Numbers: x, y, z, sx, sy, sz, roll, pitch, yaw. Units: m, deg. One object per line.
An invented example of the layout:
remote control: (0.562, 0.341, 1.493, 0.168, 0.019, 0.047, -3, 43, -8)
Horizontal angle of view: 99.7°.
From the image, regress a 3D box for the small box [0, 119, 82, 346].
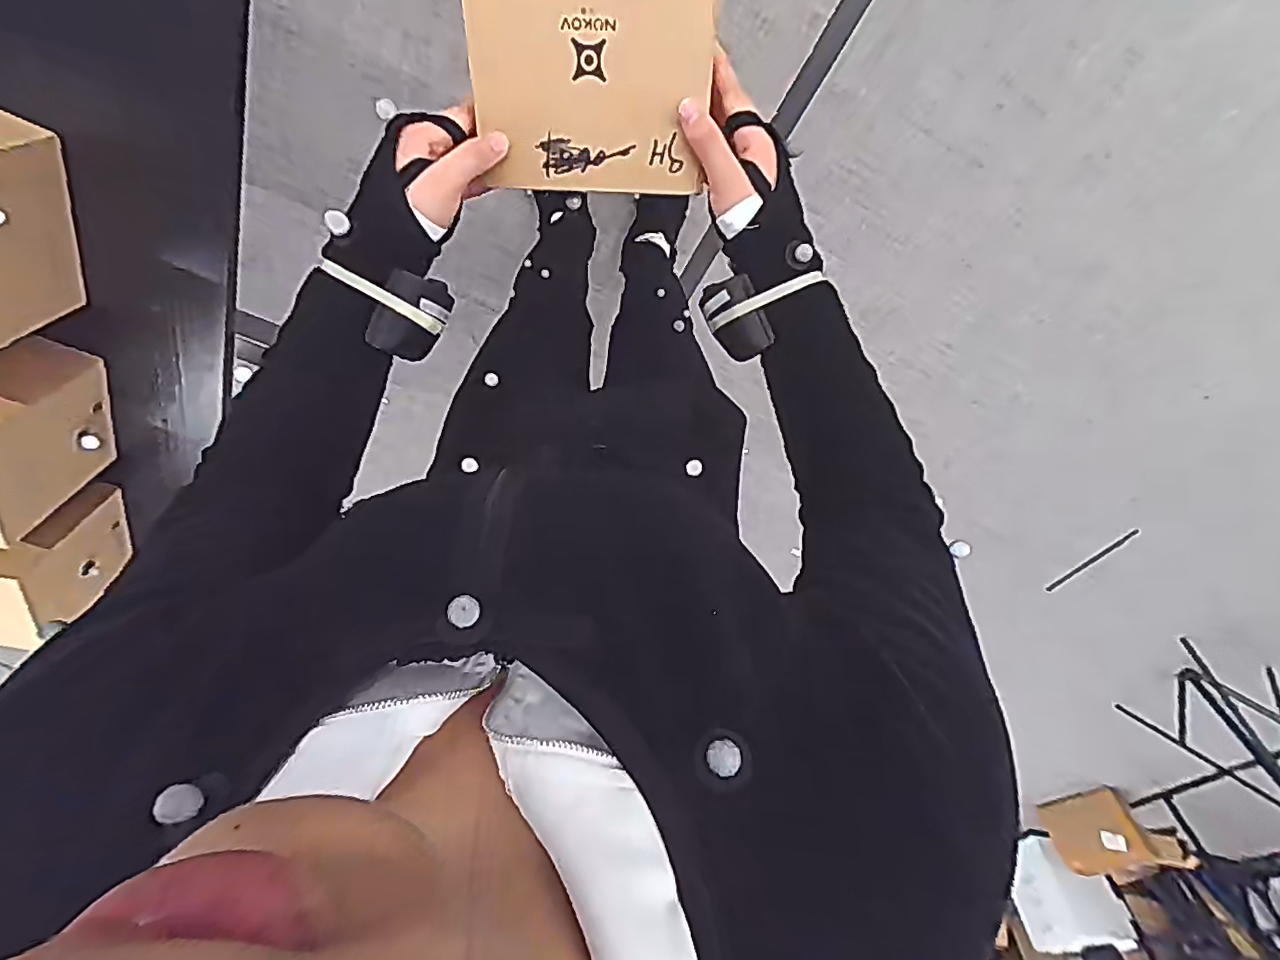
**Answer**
small box: (-0.626, -0.224, 0.444, 0.168, 0.176, 0.179, 22, 128, -17)

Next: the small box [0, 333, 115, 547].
small box: (-0.727, -0.063, 0.577, 0.179, 0.176, 0.168, 21, 127, -18)

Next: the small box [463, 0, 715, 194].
small box: (-0.032, -0.333, 0.425, 0.168, 0.176, 0.179, 2, 123, 1)
